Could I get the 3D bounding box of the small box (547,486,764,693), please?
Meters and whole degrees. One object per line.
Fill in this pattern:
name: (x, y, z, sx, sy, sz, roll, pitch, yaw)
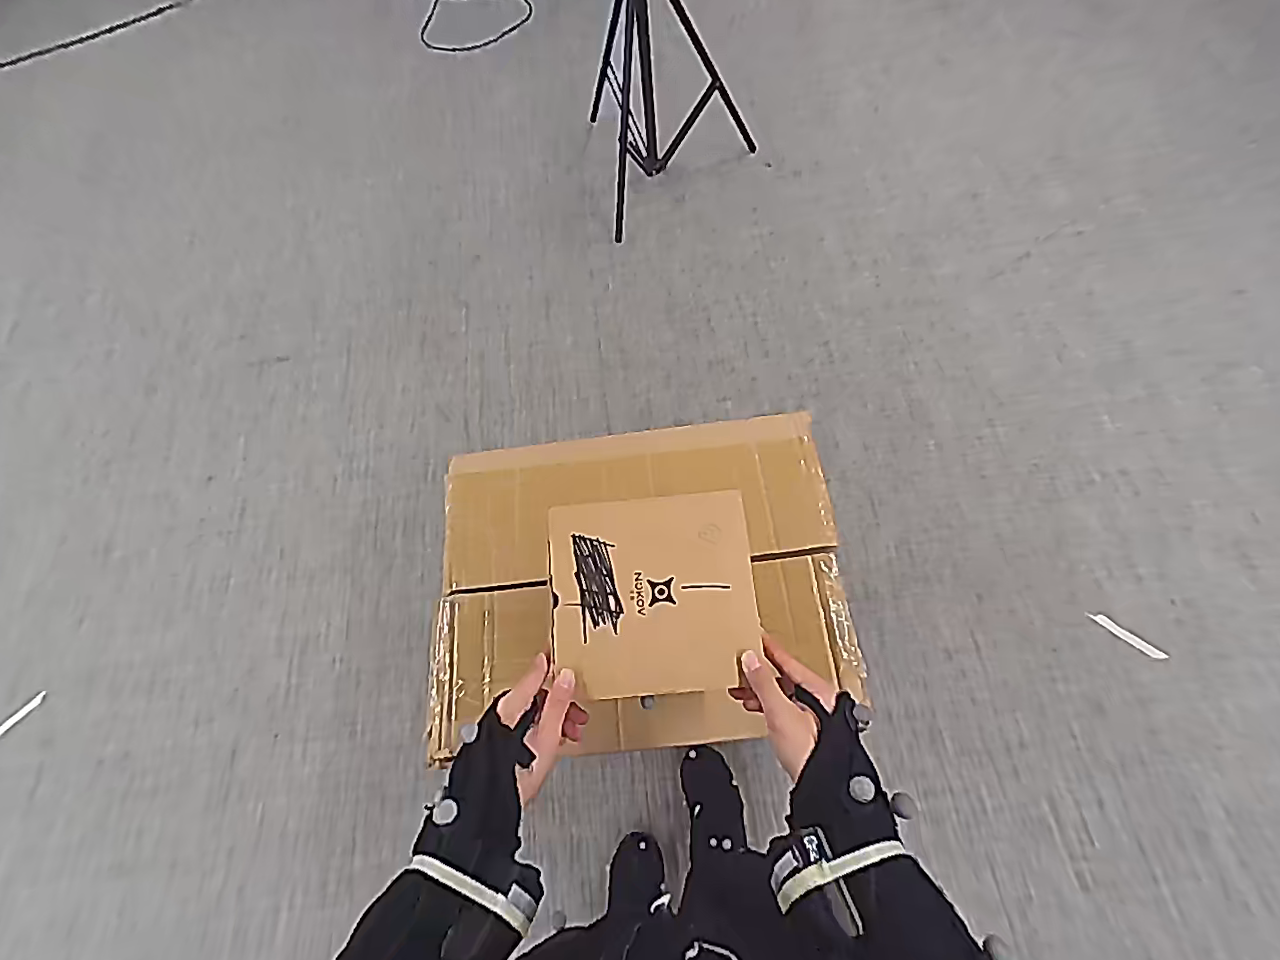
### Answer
small box: (0.013, 0.113, 0.535, 0.179, 0.176, 0.168, -5, 73, 1)
